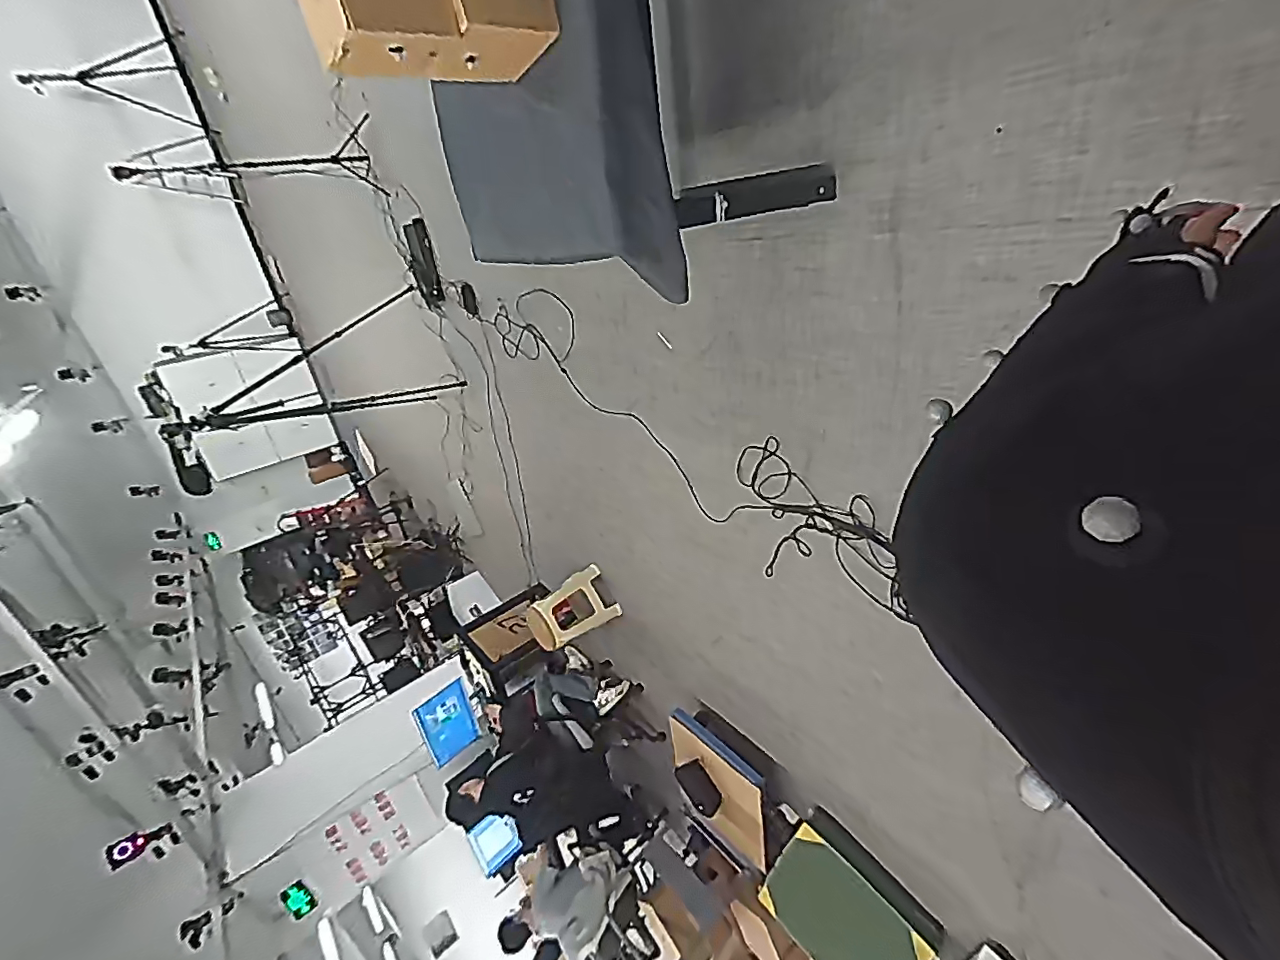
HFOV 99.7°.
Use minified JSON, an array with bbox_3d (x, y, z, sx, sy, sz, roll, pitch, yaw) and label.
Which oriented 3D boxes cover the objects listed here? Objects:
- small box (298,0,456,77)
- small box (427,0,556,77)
[{"bbox_3d":[-0.394,-0.724,0.794,0.168,0.176,0.179,15,123,48],"label":"small box"},{"bbox_3d":[-0.262,-0.779,0.872,0.179,0.176,0.168,10,121,51],"label":"small box"}]
